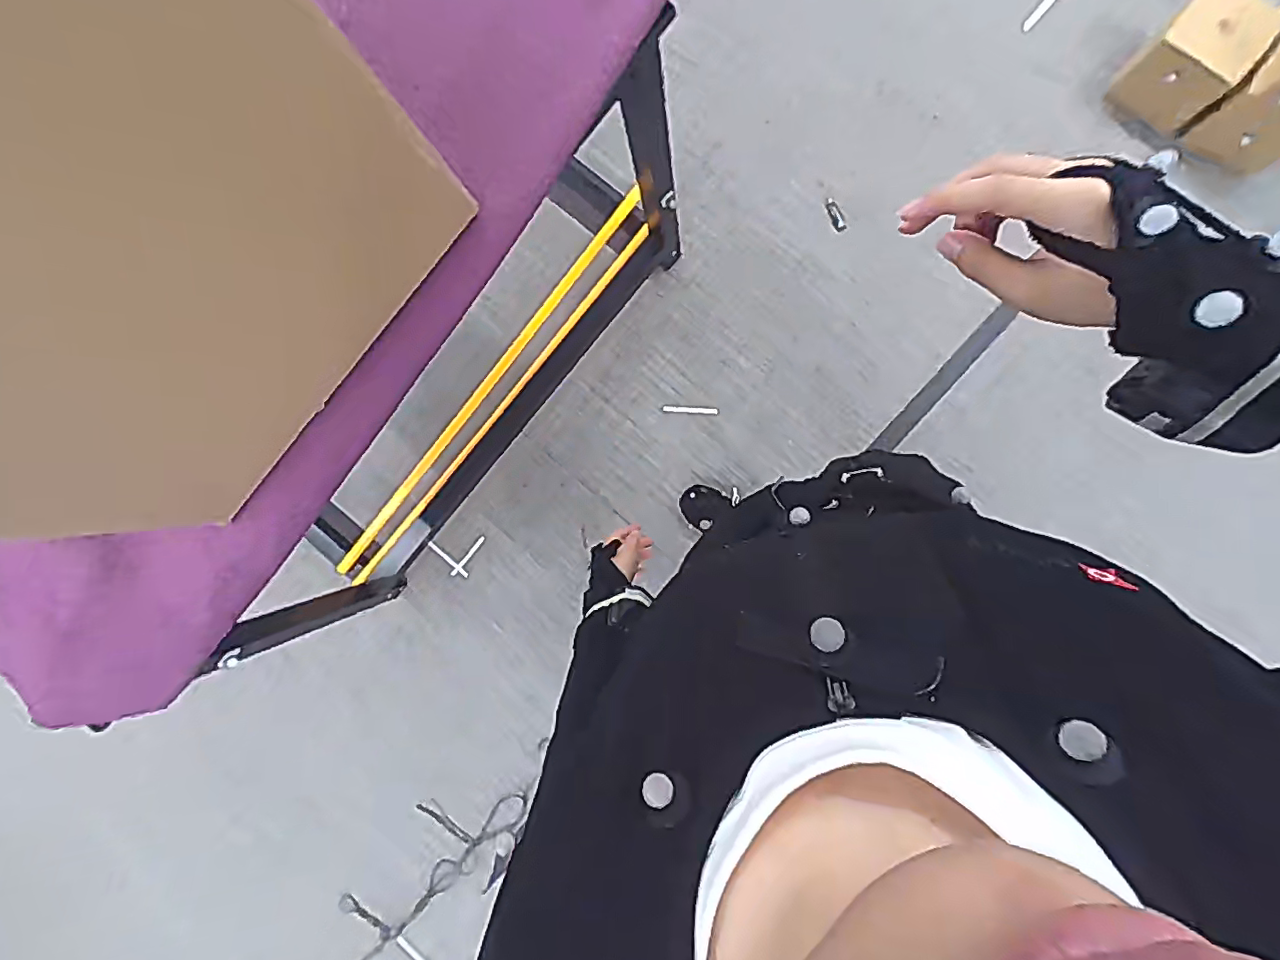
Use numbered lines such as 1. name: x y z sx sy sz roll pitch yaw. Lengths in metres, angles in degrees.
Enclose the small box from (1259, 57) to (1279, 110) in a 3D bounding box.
1. small box: 1.334 -0.793 0.998 0.168 0.176 0.179 35 93 4
